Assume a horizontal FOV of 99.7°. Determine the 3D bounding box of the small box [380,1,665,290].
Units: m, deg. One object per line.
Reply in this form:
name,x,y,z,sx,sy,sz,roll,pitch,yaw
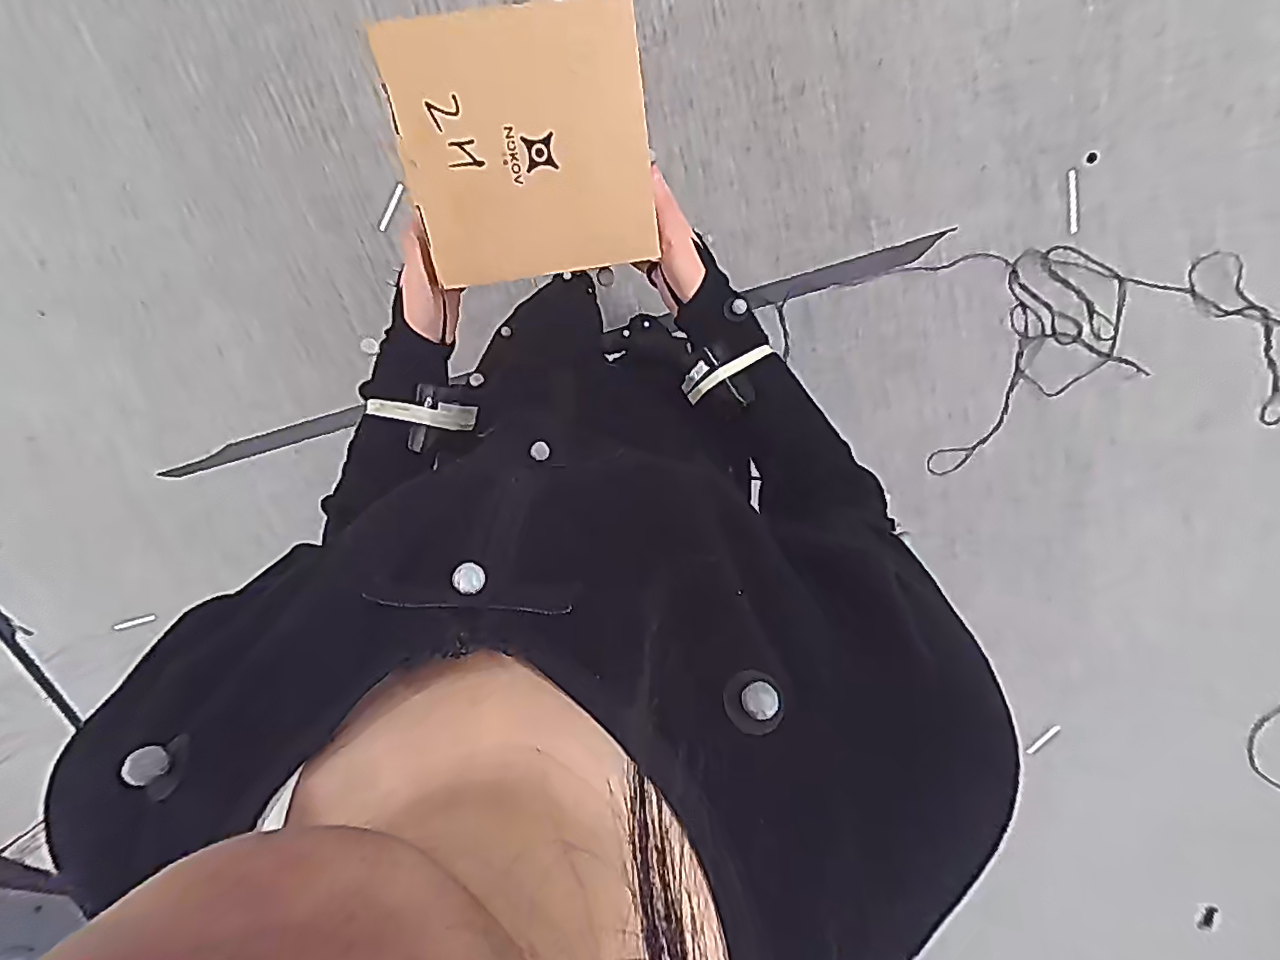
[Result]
small box,-0.082,-0.263,0.457,0.179,0.176,0.168,-8,114,-1
